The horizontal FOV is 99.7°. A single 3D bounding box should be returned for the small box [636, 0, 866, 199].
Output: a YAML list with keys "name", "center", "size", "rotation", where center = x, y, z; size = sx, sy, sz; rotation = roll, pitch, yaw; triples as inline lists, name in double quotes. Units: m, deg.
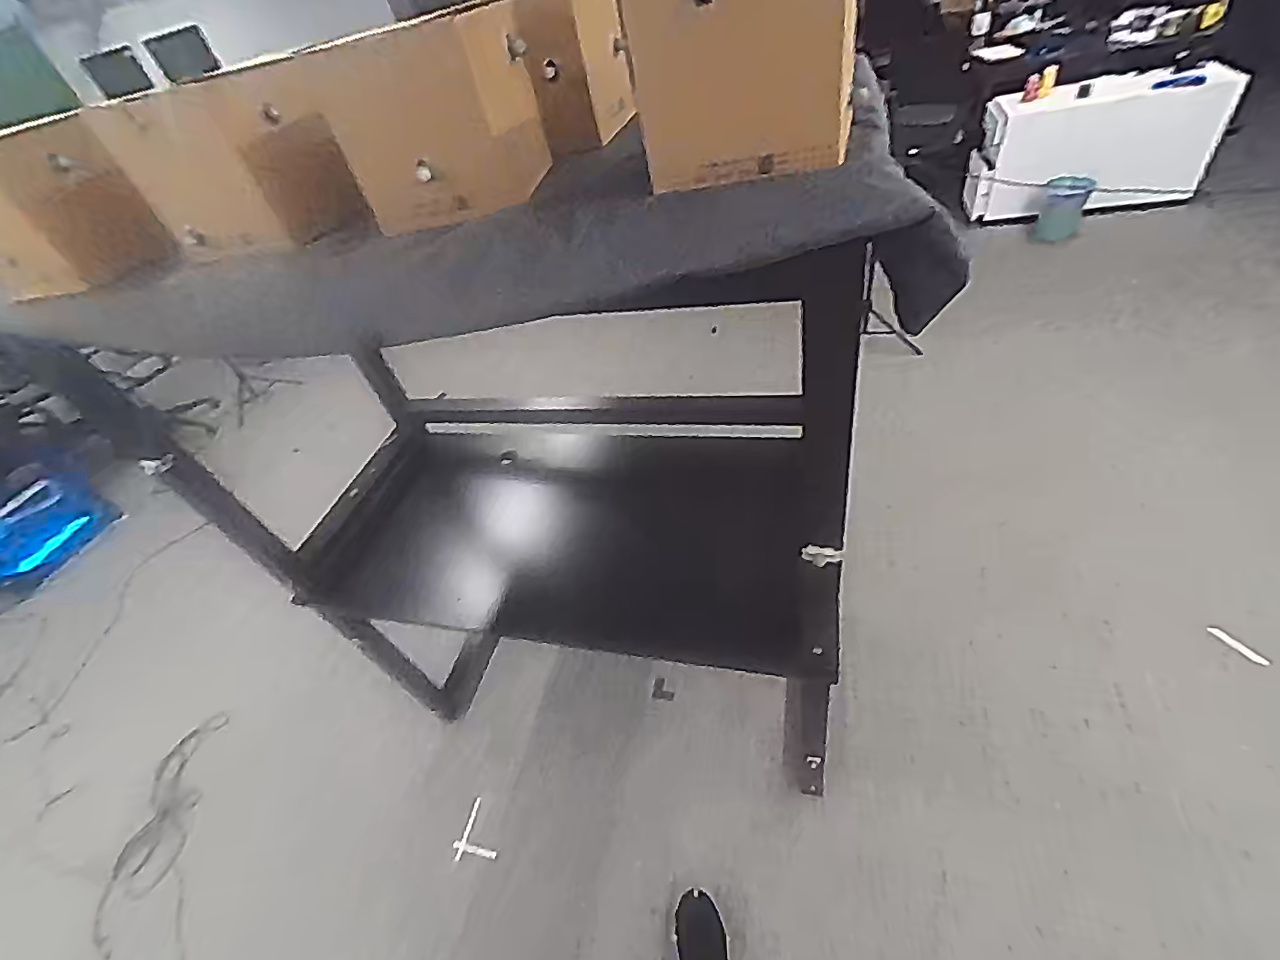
- name: "small box"
  center: [0.106, -0.368, 0.477]
  size: [0.168, 0.176, 0.179]
  rotation: [4, 46, 21]

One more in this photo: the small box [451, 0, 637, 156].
- name: "small box"
  center: [-0.115, -0.548, 0.727]
  size: [0.179, 0.176, 0.168]
  rotation: [4, 46, 19]

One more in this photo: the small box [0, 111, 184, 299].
- name: "small box"
  center: [-0.774, -0.364, 0.724]
  size: [0.168, 0.176, 0.179]
  rotation: [-1, 46, 15]

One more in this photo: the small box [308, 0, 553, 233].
- name: "small box"
  center: [-0.207, -0.396, 0.597]
  size: [0.168, 0.176, 0.179]
  rotation: [-4, 45, 12]
